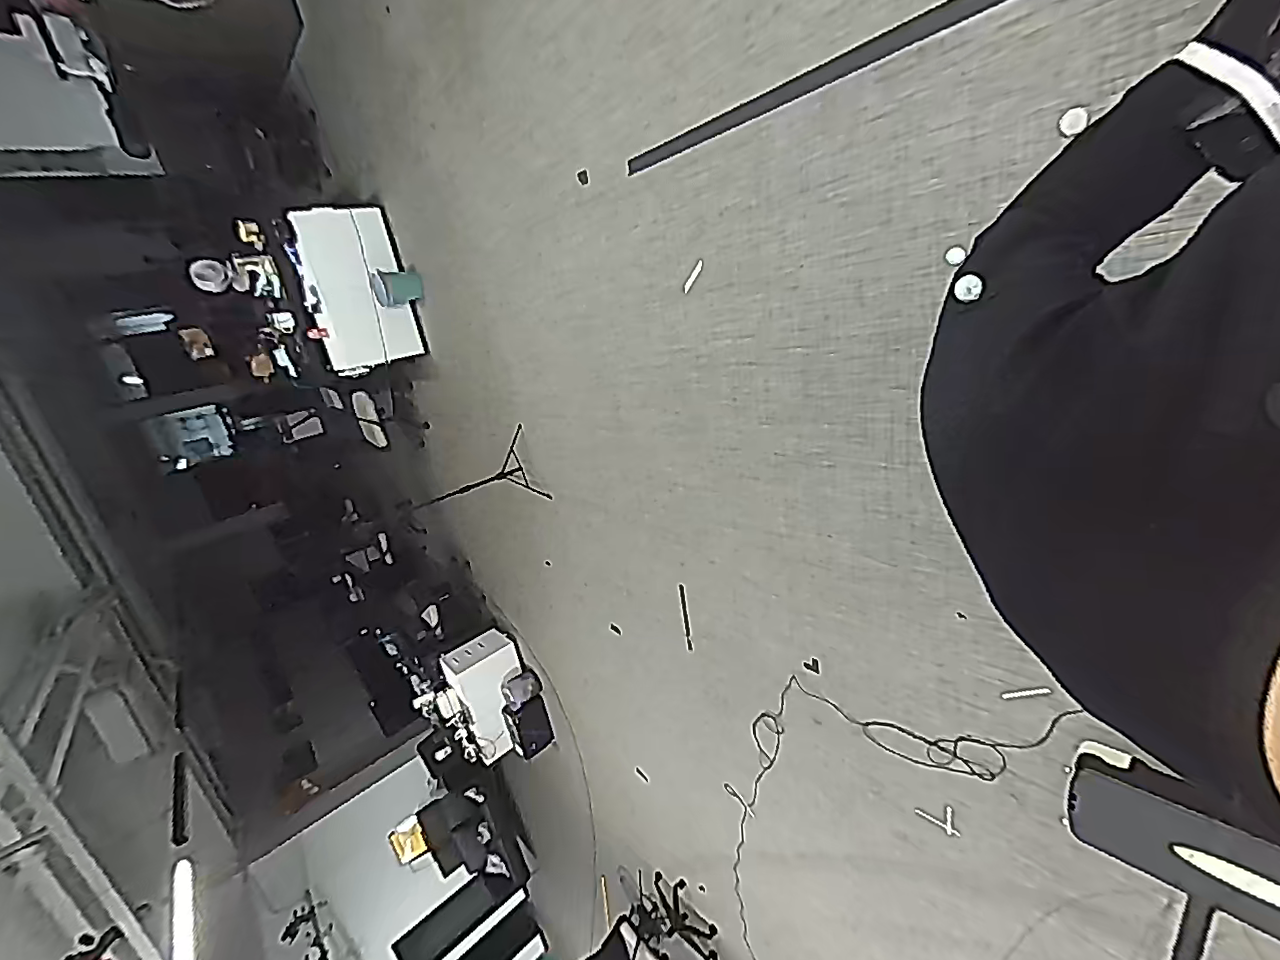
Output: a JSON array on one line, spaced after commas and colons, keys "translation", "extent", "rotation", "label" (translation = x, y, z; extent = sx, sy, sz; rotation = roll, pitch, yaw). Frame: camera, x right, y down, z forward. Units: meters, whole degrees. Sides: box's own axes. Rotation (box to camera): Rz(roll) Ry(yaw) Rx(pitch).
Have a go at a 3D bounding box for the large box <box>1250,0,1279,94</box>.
[{"translation": [1.022, -0.711, 0.621], "extent": [0.408, 0.320, 0.320], "rotation": [10, 118, 48], "label": "large box"}]
